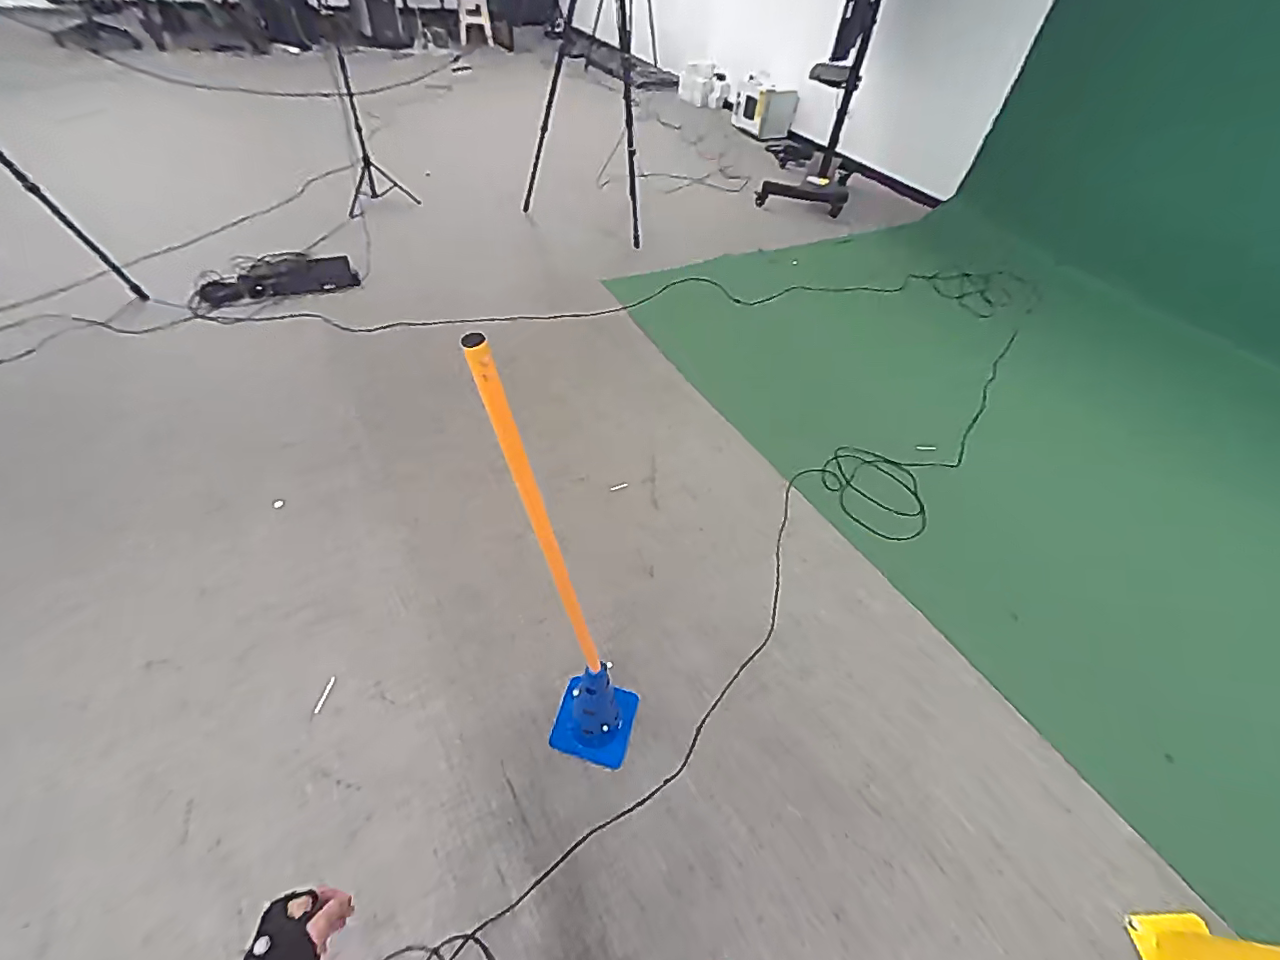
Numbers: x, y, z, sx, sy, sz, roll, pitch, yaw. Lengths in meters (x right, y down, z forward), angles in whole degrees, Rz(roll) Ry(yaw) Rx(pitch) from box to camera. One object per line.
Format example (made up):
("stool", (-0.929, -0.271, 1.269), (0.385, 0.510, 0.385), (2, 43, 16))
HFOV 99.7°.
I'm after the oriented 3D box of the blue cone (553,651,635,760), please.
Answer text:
("blue cone", (-0.111, 0.515, 1.296), (0.193, 0.380, 0.192), (13, 49, 7))
